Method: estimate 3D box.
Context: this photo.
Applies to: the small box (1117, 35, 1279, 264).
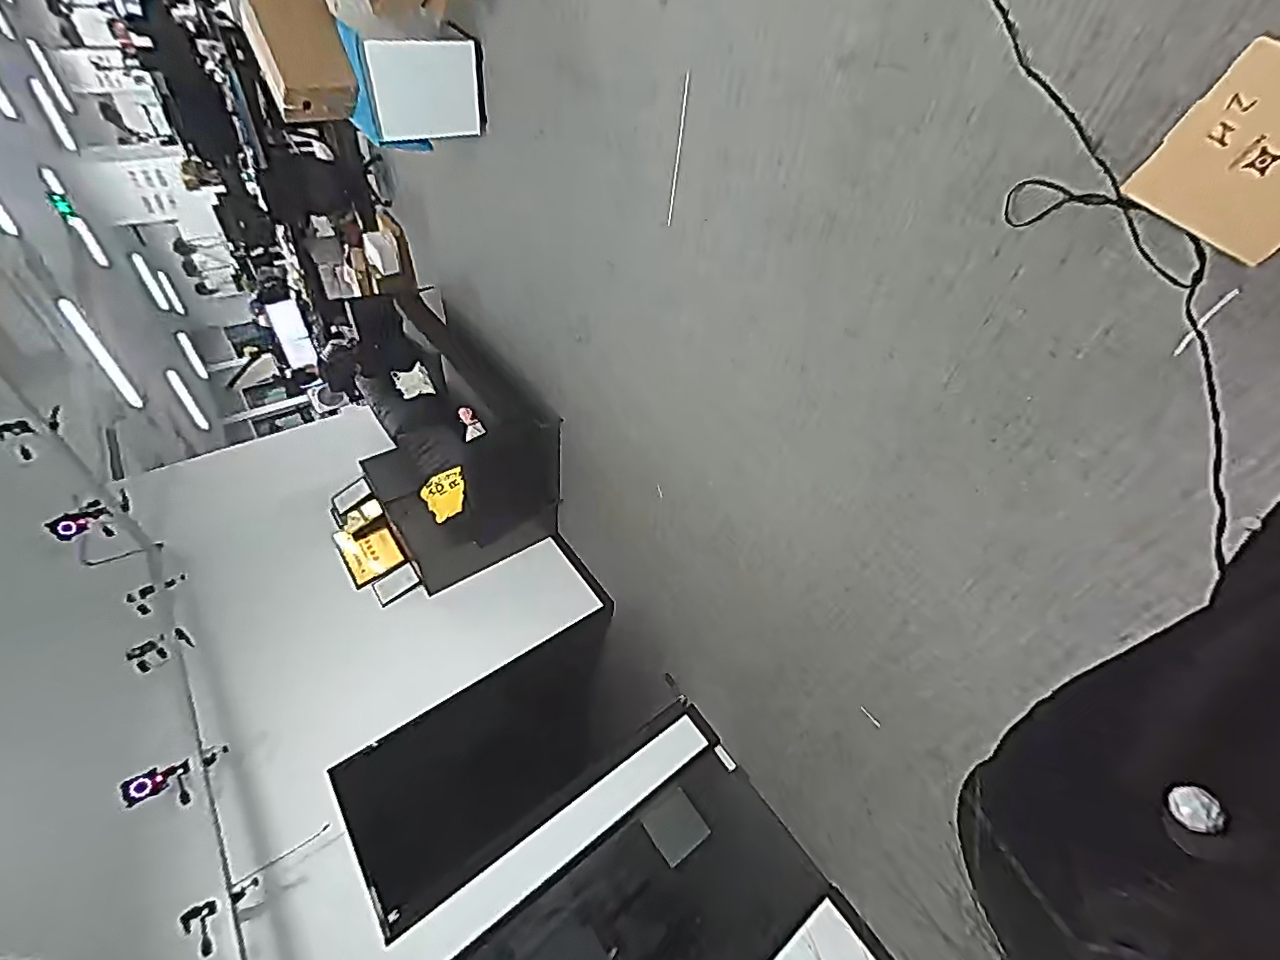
[{"bbox_3d":[0.736,-0.386,0.631,0.179,0.176,0.168,53,148,23],"label":"small box"}]
